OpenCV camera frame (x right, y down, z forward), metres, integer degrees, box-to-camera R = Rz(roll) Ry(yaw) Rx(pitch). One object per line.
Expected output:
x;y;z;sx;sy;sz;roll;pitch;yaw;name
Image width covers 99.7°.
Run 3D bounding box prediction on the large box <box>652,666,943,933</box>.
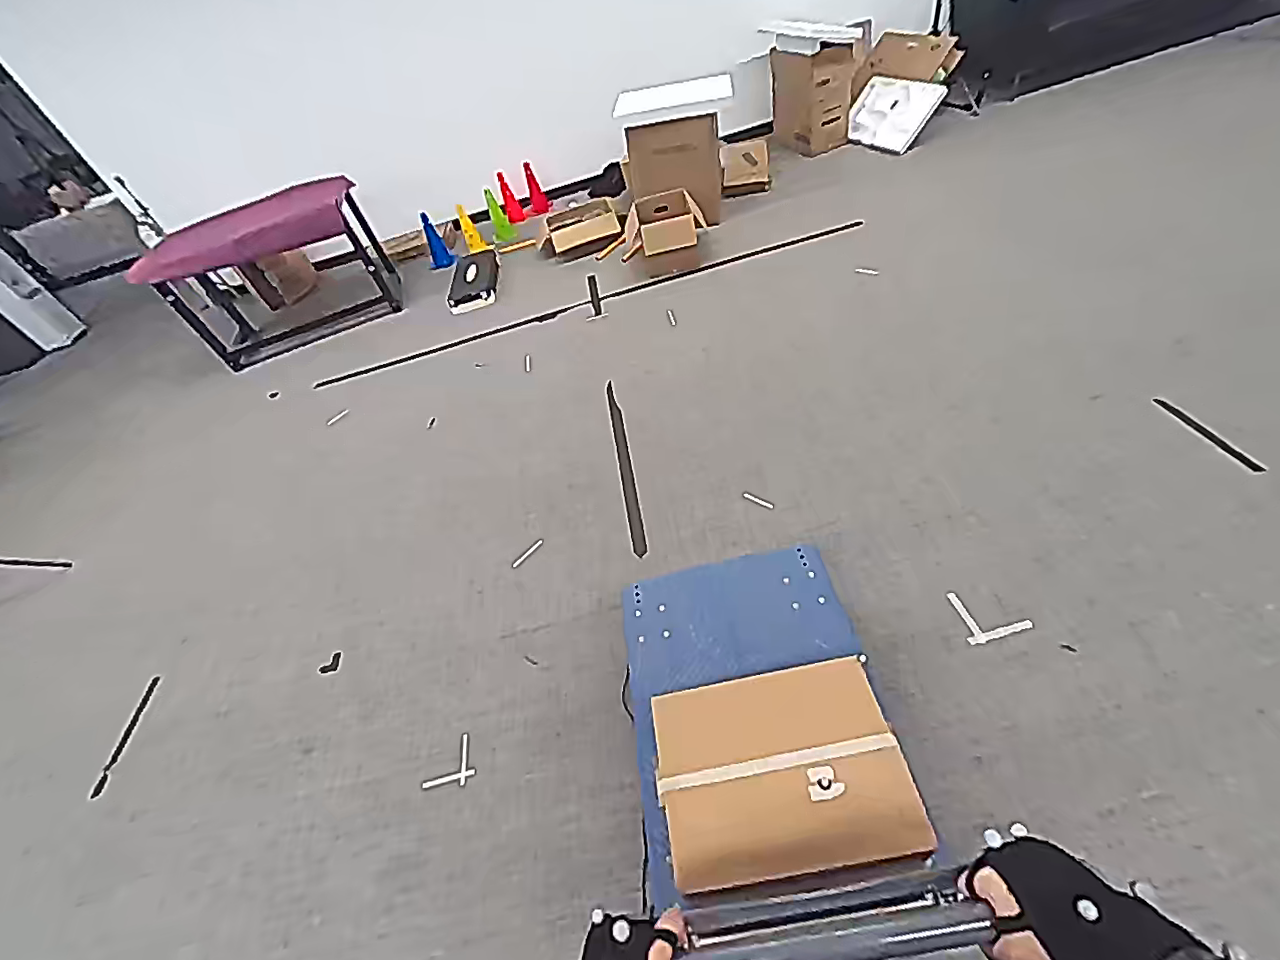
0.261;0.597;1.006;0.408;0.320;0.320;-13;46;3;large box
